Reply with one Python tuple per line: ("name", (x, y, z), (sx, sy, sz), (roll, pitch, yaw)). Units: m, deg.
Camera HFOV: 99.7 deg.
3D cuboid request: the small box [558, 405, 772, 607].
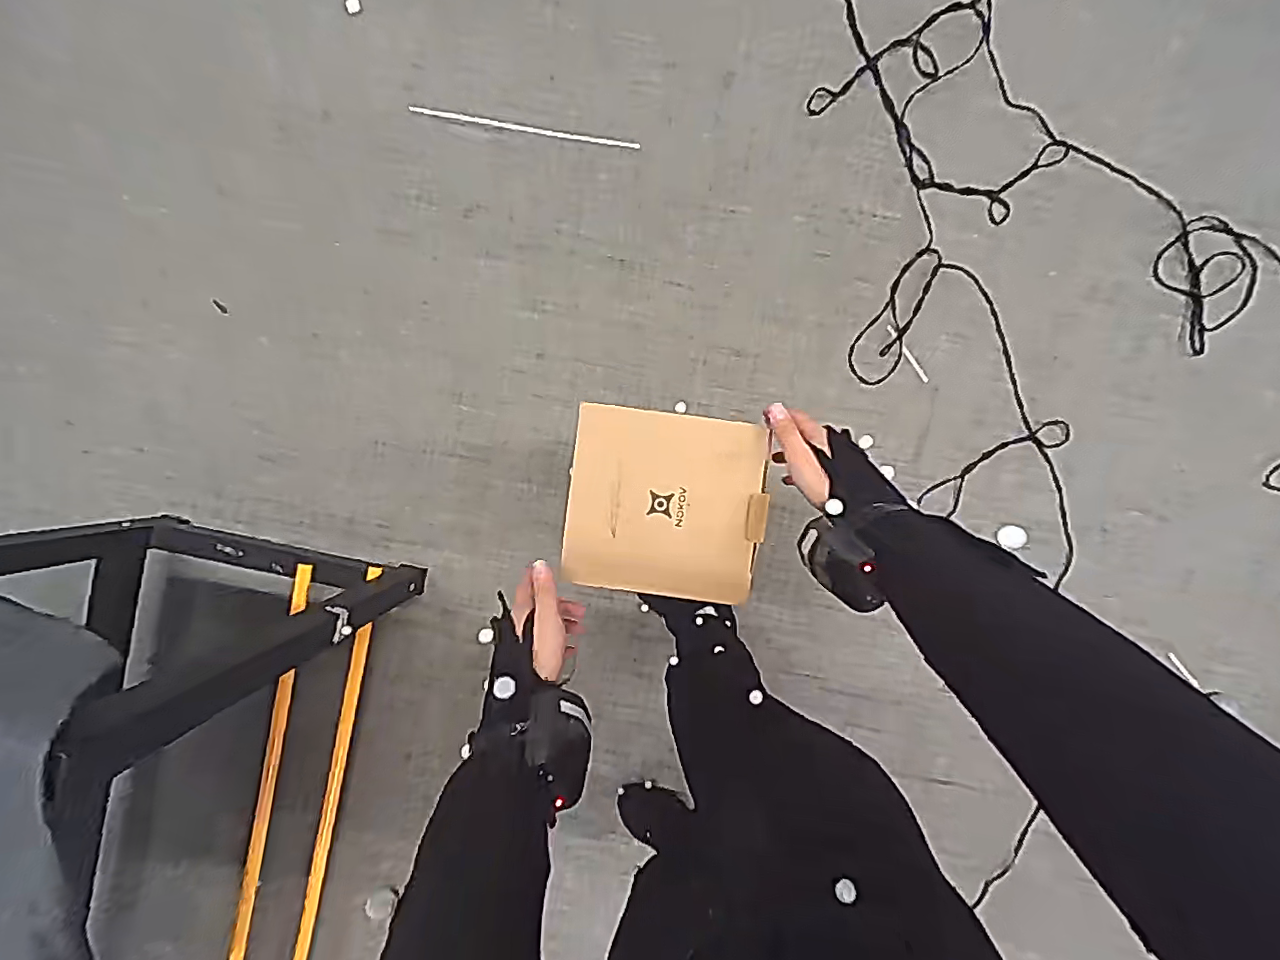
("small box", (0.023, 0.020, 0.563), (0.179, 0.176, 0.168), (7, 92, 1))
